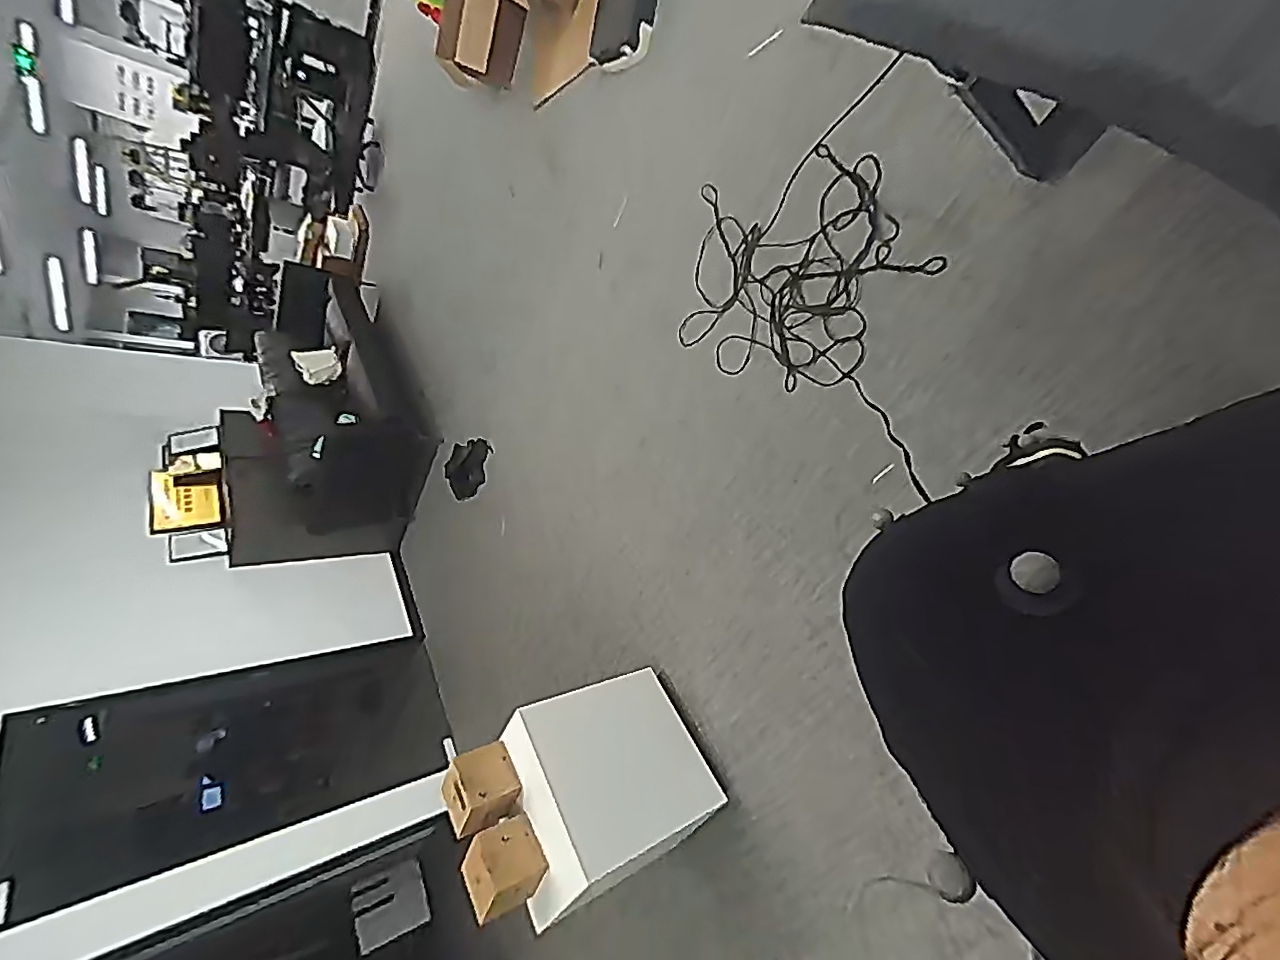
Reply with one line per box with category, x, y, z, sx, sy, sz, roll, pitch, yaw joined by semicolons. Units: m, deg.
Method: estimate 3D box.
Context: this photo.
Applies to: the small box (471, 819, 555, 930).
small box;-0.365;1.129;1.562;0.168;0.176;0.179;45;123;41
